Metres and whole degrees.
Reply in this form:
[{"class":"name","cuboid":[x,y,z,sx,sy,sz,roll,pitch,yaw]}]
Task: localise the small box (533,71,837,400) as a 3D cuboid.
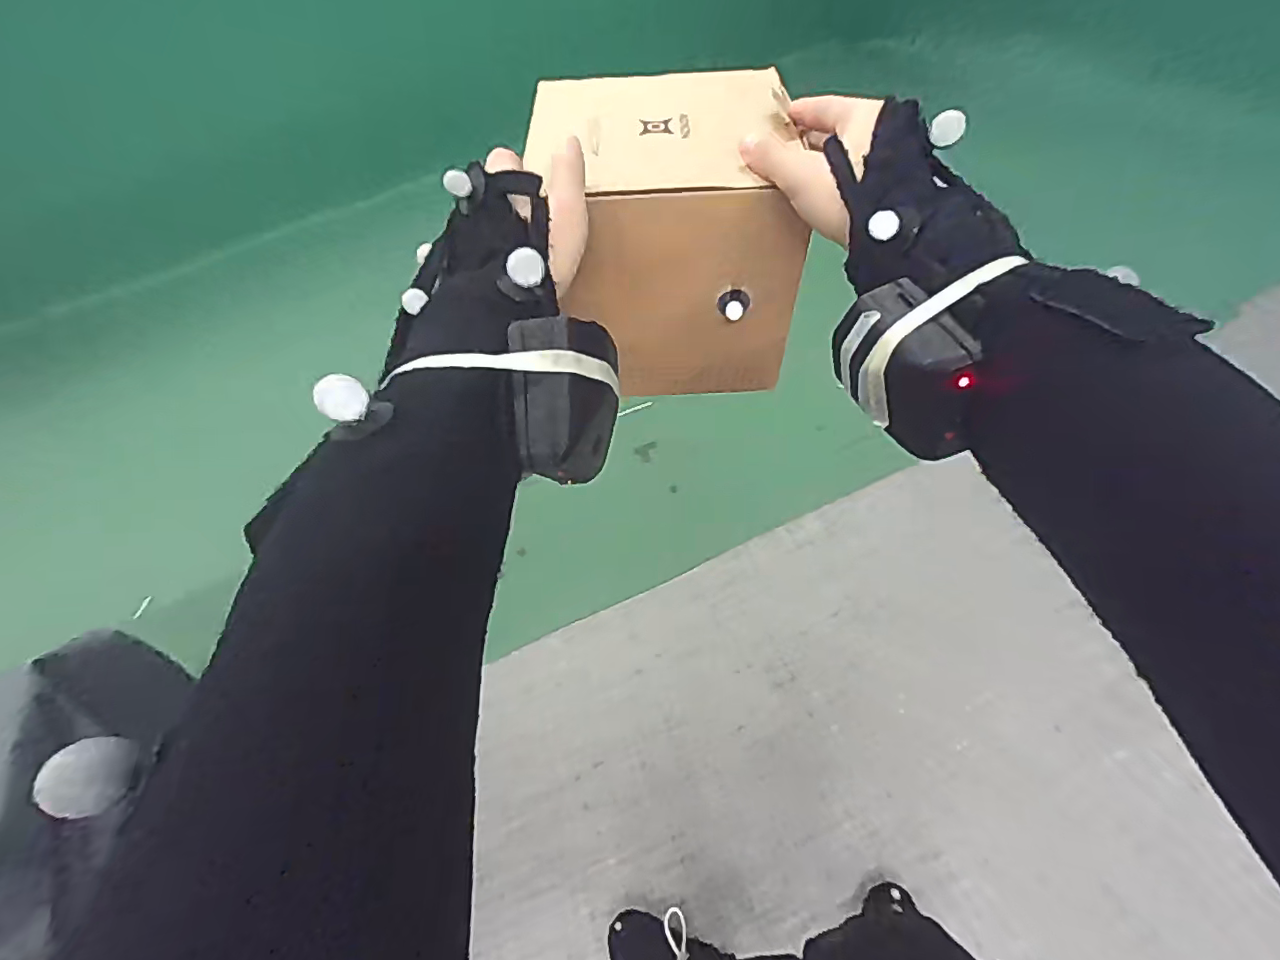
[{"class":"small box","cuboid":[0.029,-0.178,0.415,0.179,0.176,0.168,-3,54,3]}]
